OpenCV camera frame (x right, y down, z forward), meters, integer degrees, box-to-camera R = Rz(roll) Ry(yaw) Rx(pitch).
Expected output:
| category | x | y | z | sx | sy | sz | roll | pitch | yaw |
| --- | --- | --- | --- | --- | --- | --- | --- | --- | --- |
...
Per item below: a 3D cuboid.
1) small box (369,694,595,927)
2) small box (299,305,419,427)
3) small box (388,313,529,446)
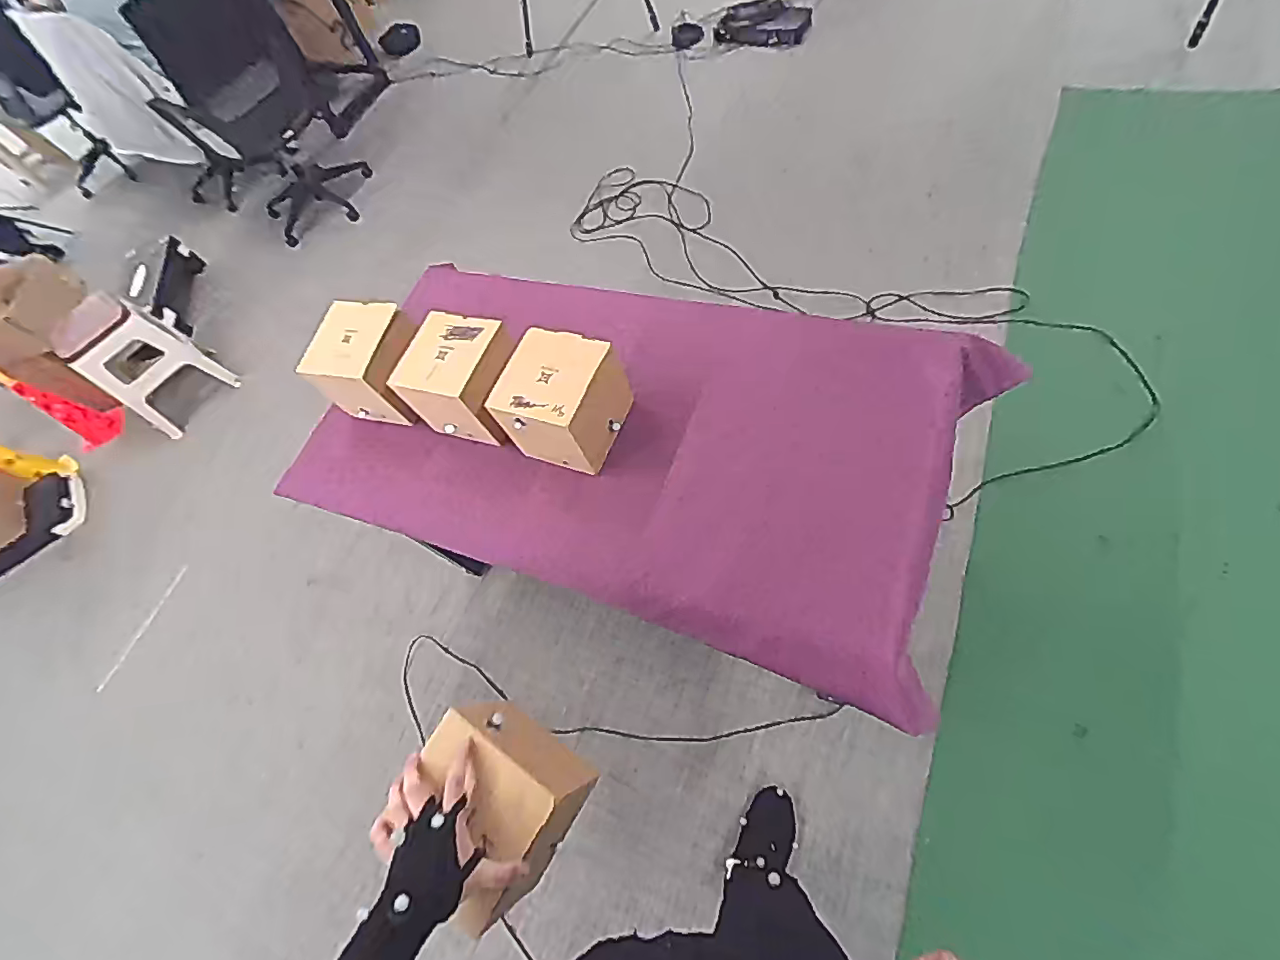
| category | x | y | z | sx | sy | sz | roll | pitch | yaw |
| --- | --- | --- | --- | --- | --- | --- | --- | --- | --- |
| small box | -0.187 | 0.394 | 0.685 | 0.179 | 0.176 | 0.168 | 31 | 81 | 22 |
| small box | -0.546 | -0.235 | 1.124 | 0.168 | 0.176 | 0.179 | 9 | 66 | 19 |
| small box | -0.336 | -0.192 | 1.046 | 0.168 | 0.176 | 0.179 | 14 | 68 | 21 |
